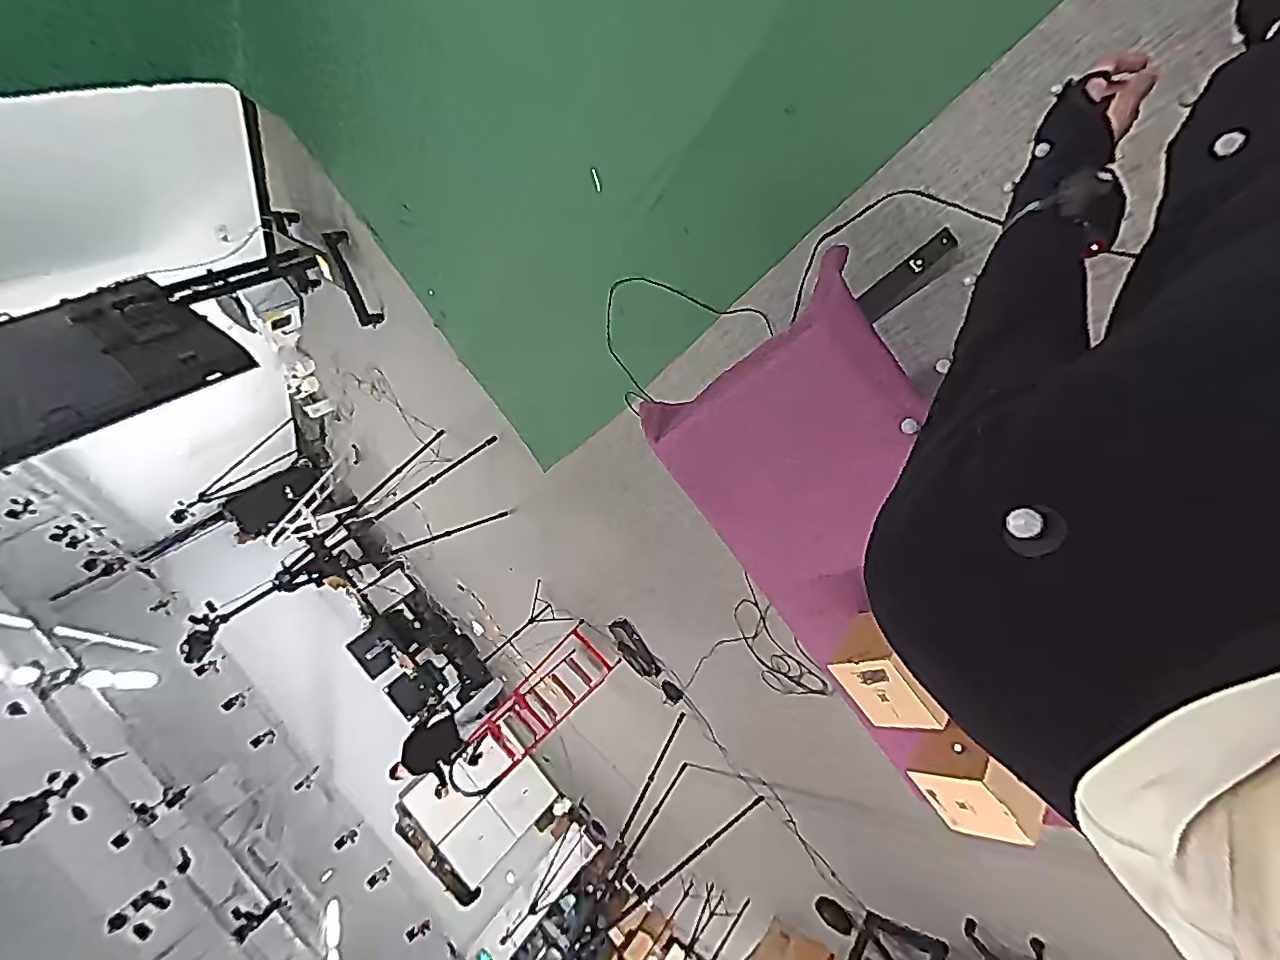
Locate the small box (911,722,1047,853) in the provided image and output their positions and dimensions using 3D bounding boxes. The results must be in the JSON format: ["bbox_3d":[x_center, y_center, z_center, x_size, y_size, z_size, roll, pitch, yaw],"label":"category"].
[{"bbox_3d":[0.720,0.635,1.141,0.168,0.176,0.179,53,145,0],"label":"small box"}]

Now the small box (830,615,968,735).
[{"bbox_3d":[0.545,0.402,1.136,0.179,0.176,0.168,52,146,-1],"label":"small box"}]
